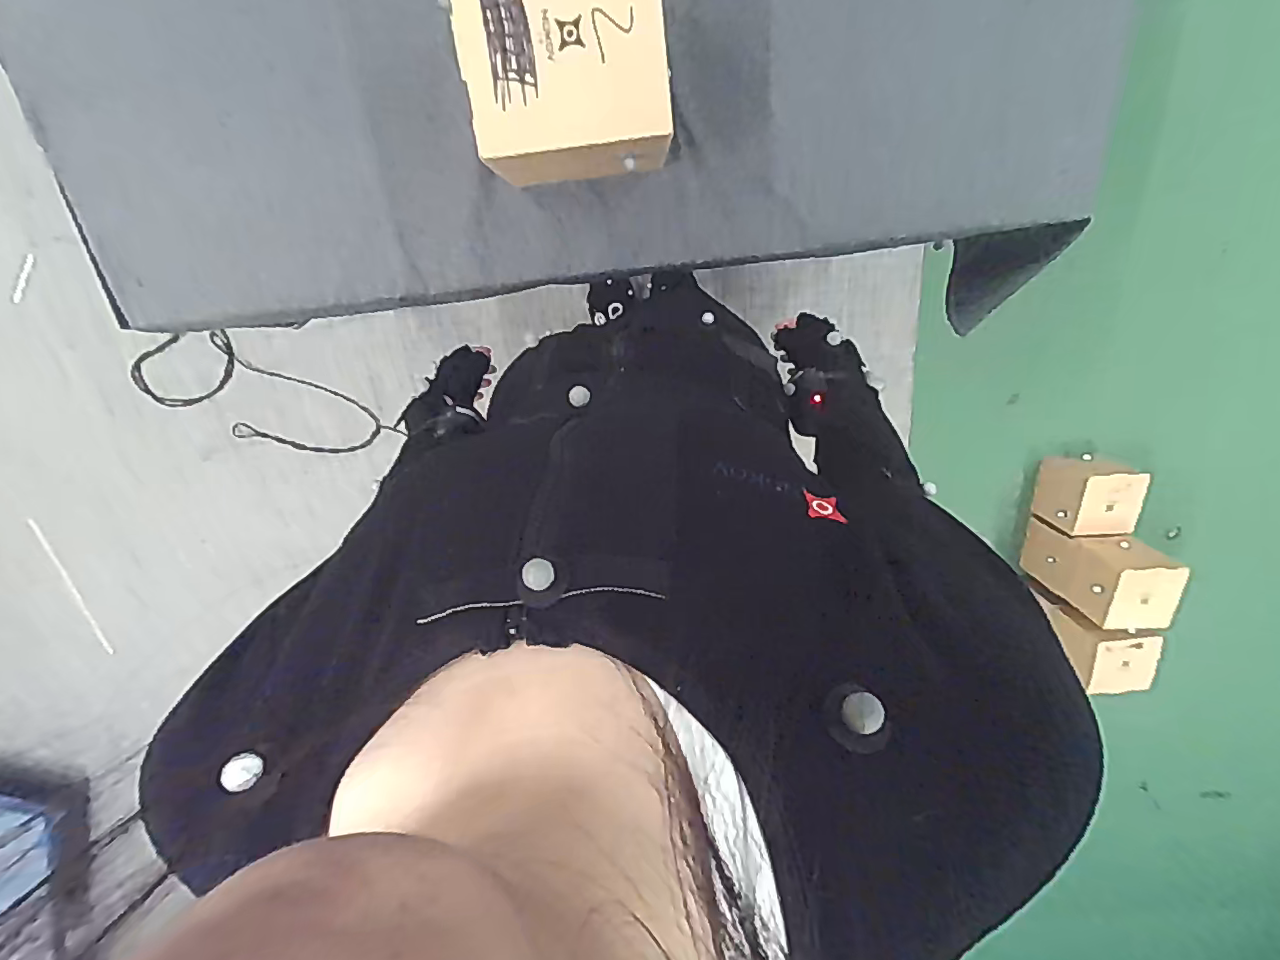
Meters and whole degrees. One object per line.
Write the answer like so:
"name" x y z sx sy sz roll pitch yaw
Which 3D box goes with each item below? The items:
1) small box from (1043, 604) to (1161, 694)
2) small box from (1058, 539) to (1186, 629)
"small box" 1.257 0.458 1.488 0.168 0.176 0.179 -6 112 1
"small box" 1.247 0.269 1.417 0.168 0.176 0.179 -1 110 0
